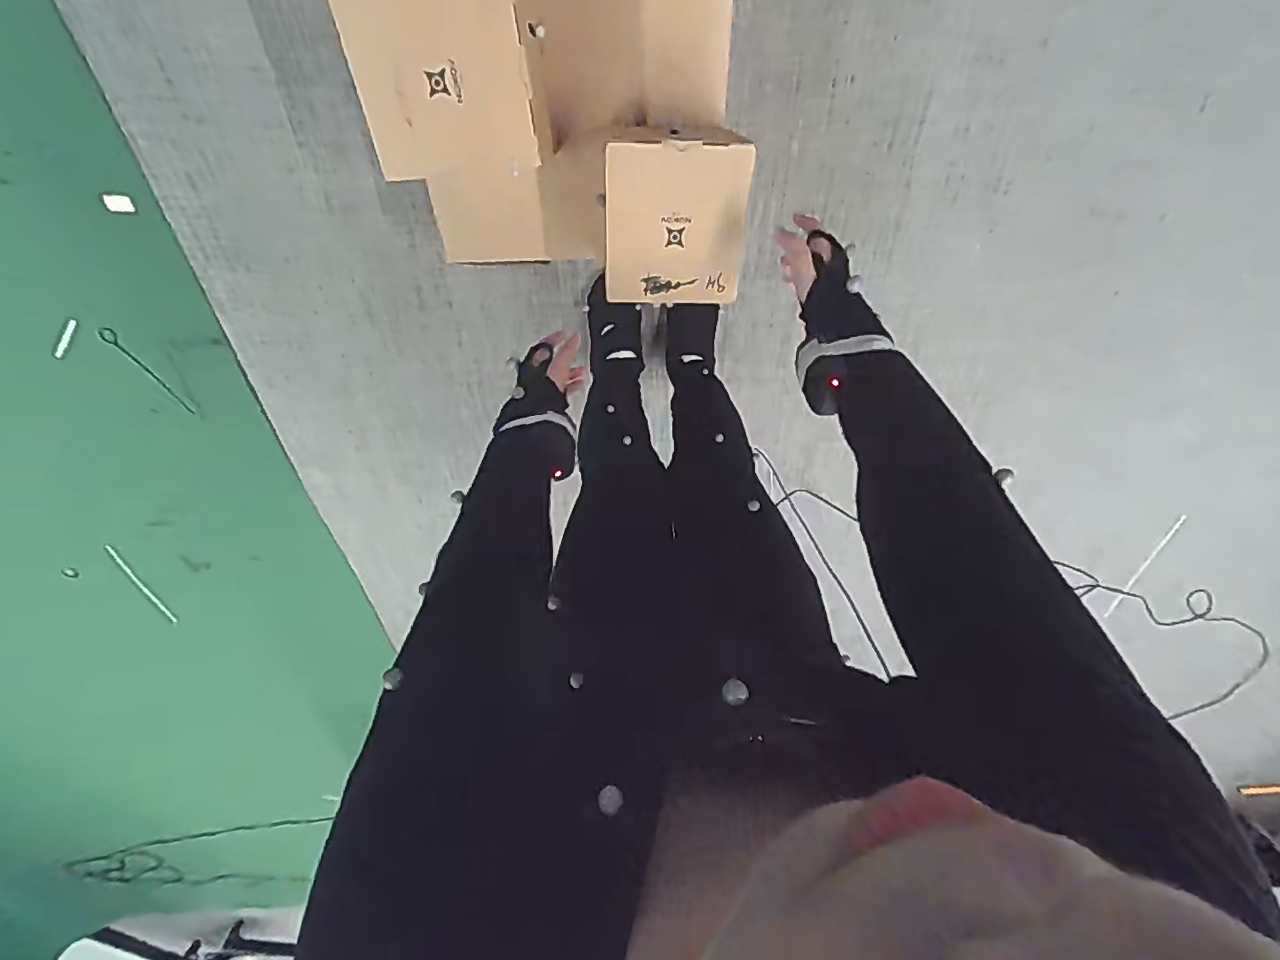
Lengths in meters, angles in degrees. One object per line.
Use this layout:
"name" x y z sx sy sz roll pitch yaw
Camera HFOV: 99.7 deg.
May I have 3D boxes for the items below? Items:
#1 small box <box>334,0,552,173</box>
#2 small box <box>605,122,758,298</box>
"small box" -0.198 -0.453 0.604 0.179 0.176 0.168 -4 126 2
"small box" 0.039 -0.347 0.690 0.168 0.176 0.179 0 127 -3
